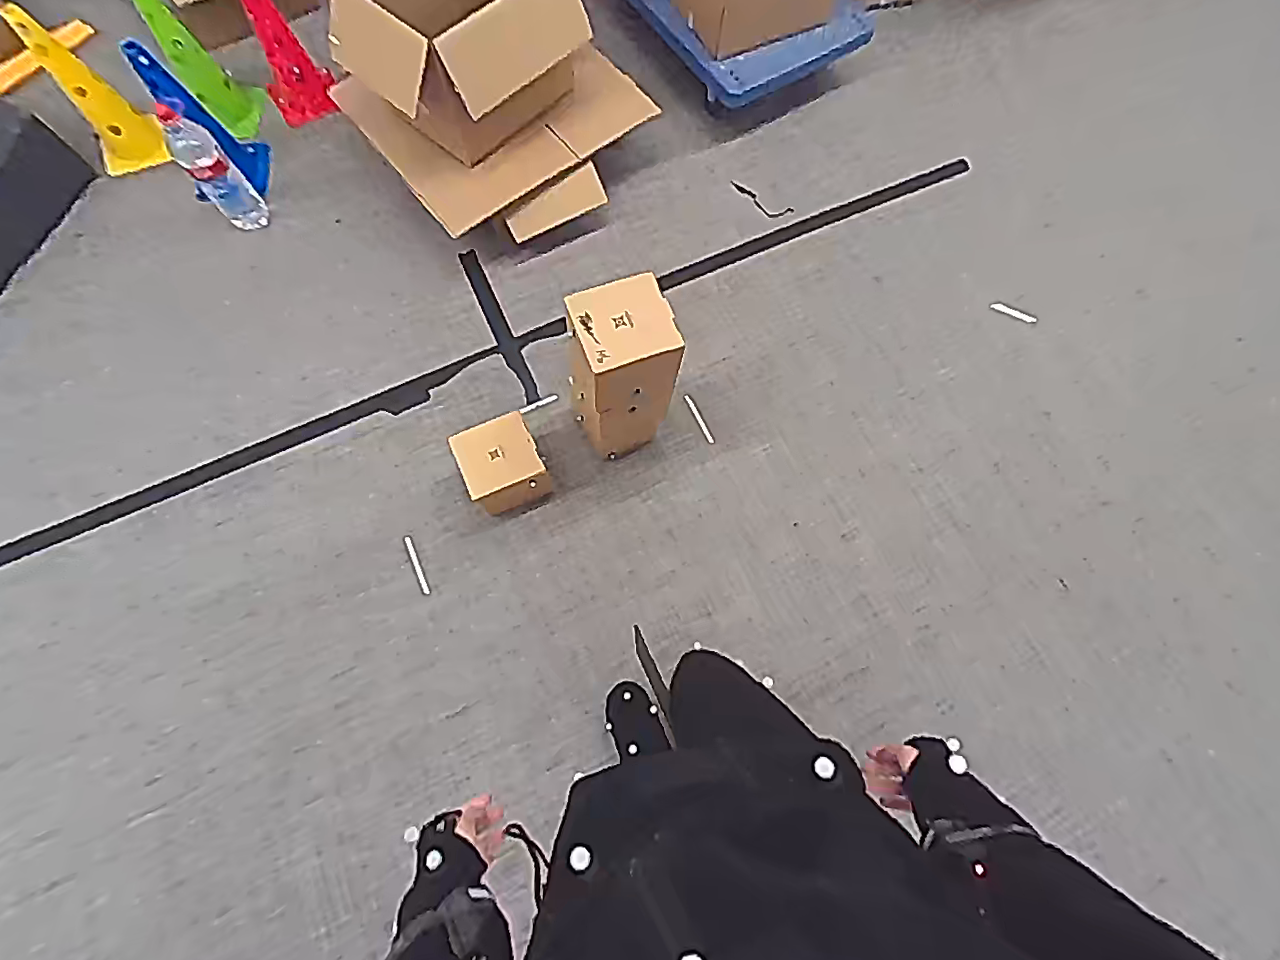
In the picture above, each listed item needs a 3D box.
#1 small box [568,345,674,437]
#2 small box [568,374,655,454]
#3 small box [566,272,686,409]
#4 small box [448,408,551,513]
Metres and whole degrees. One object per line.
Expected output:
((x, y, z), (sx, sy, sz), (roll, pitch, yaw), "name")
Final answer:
((-0.044, -0.216, 1.190), (0.179, 0.176, 0.168), (-22, 77, -10), "small box")
((-0.066, -0.182, 1.350), (0.168, 0.176, 0.179), (-25, 76, -11), "small box")
((-0.033, -0.260, 1.032), (0.179, 0.176, 0.168), (-19, 76, -10), "small box")
((-0.328, -0.039, 1.293), (0.179, 0.176, 0.168), (-24, 76, -10), "small box")
